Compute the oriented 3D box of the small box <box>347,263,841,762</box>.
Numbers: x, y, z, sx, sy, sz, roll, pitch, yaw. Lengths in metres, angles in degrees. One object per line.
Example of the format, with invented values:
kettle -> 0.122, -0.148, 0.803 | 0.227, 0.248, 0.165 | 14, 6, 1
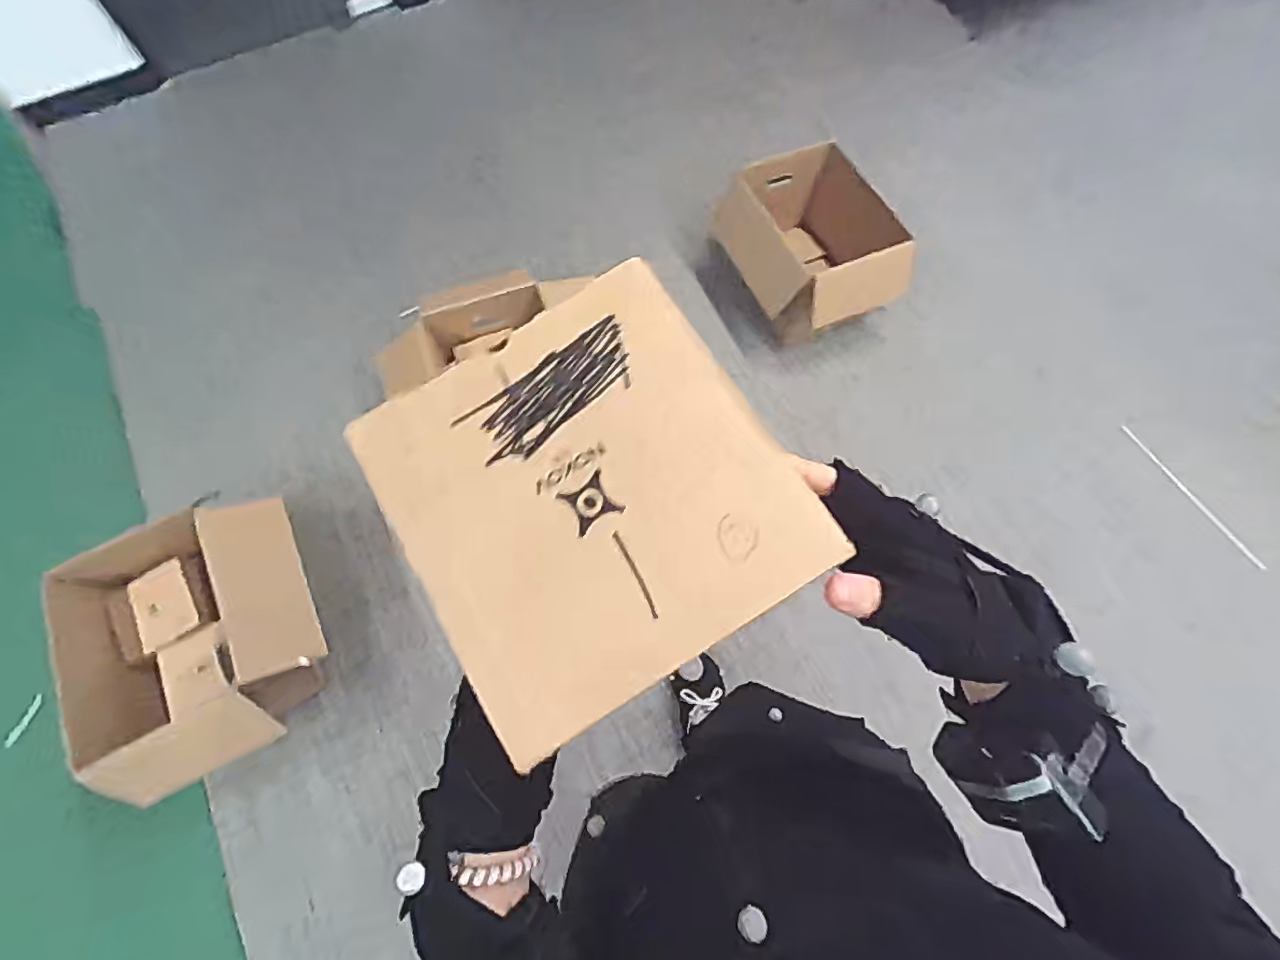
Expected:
small box -> -0.021, 0.022, 0.319 | 0.168, 0.176, 0.179 | -34, 77, -2
